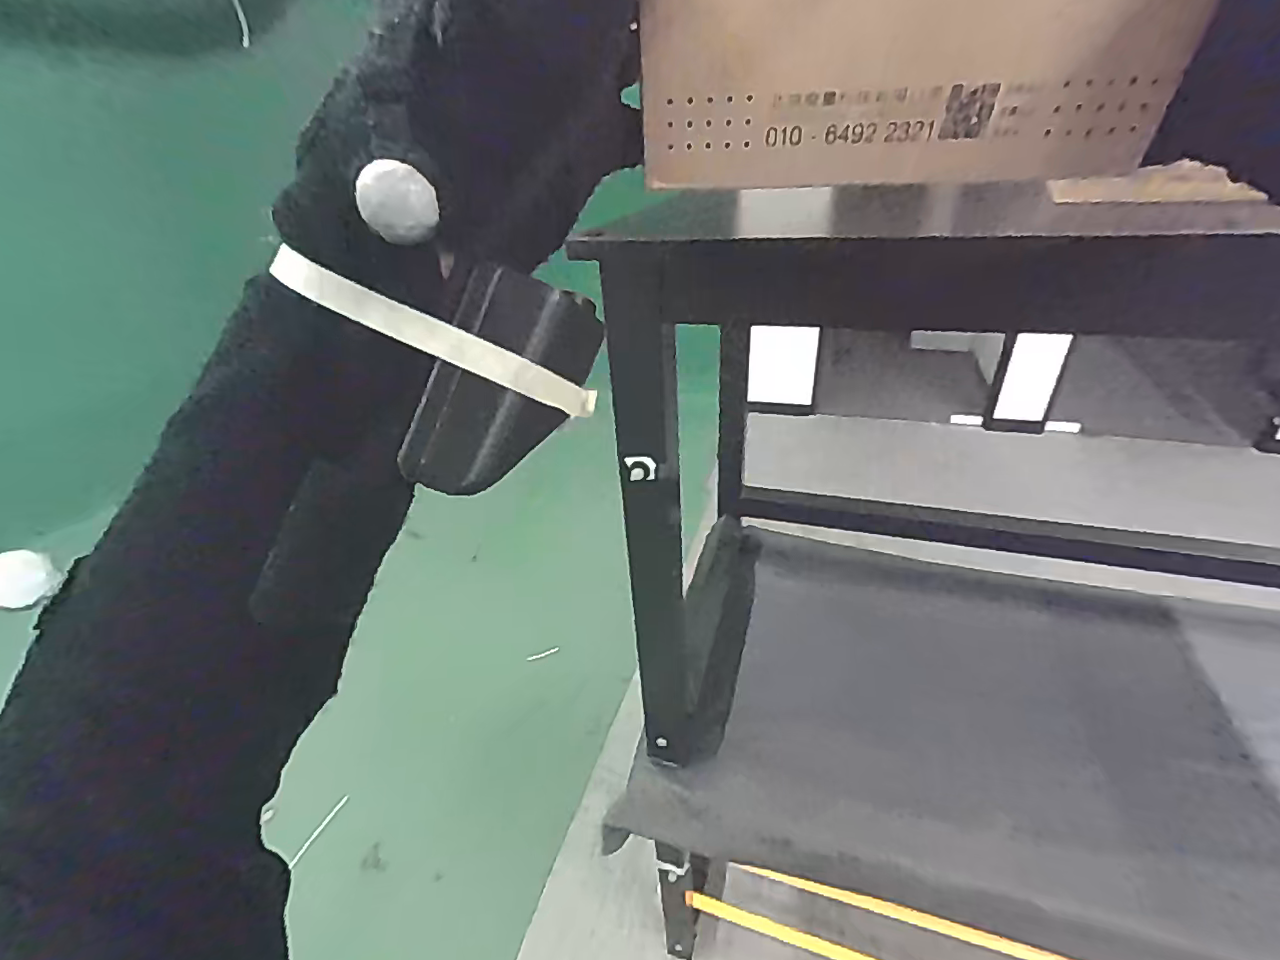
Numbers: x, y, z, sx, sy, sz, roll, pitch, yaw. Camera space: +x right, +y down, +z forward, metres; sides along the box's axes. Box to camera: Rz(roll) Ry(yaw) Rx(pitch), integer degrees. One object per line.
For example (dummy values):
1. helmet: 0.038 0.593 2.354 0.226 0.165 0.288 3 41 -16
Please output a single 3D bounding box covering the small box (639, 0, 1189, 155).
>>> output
1. small box: 0.085 -0.225 0.189 0.168 0.176 0.179 1 43 4
